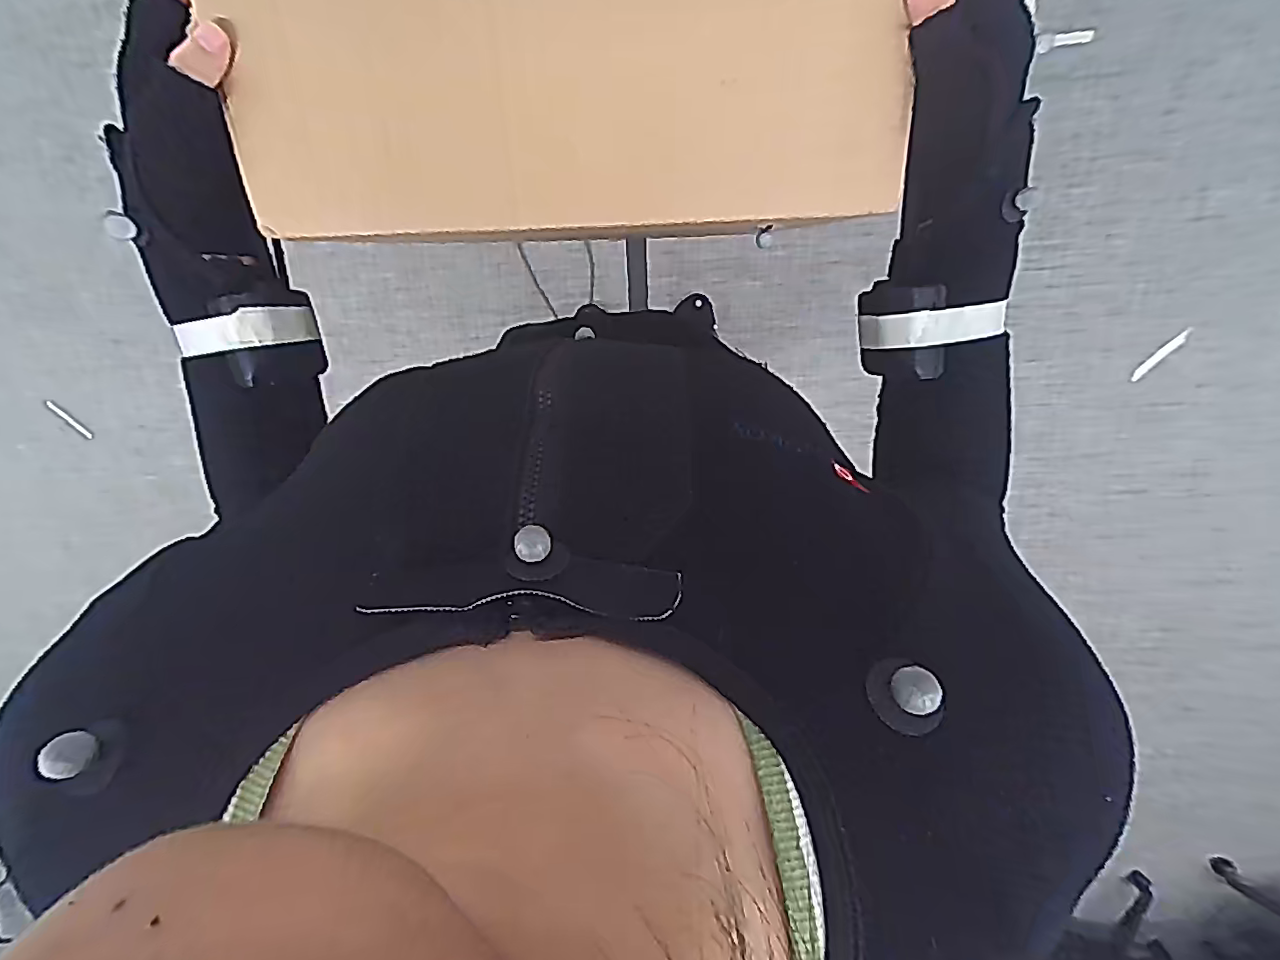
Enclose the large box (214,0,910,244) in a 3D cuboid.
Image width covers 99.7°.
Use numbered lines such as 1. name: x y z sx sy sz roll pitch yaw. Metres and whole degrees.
1. large box: -0.045 -0.367 0.431 0.408 0.320 0.320 -2 113 0
